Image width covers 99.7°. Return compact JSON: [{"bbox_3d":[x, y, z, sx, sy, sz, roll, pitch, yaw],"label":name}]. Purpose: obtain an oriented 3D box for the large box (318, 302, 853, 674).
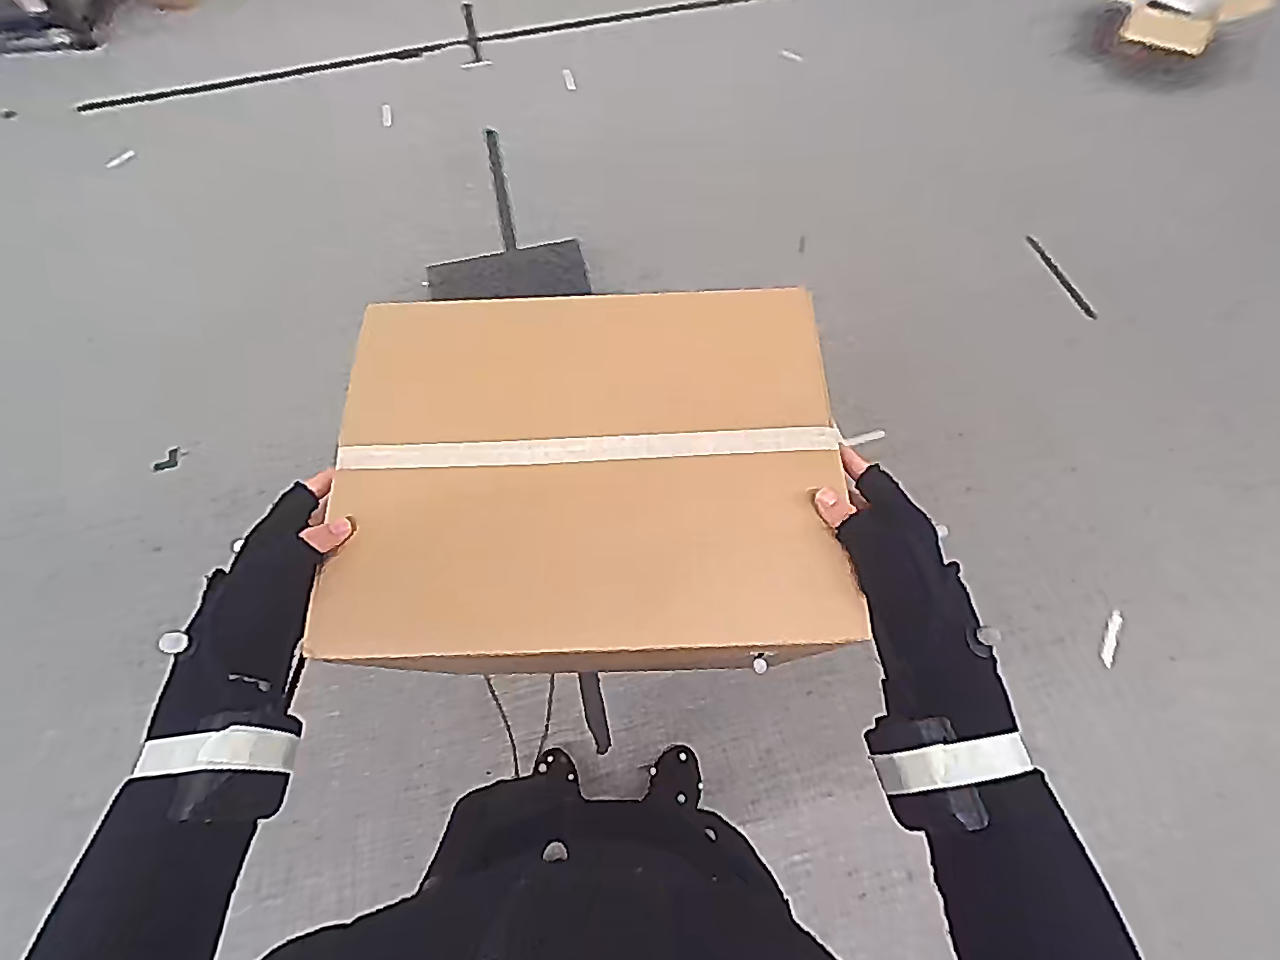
[{"bbox_3d":[-0.044,0.038,0.588,0.408,0.320,0.320,-2,68,0],"label":"large box"}]
